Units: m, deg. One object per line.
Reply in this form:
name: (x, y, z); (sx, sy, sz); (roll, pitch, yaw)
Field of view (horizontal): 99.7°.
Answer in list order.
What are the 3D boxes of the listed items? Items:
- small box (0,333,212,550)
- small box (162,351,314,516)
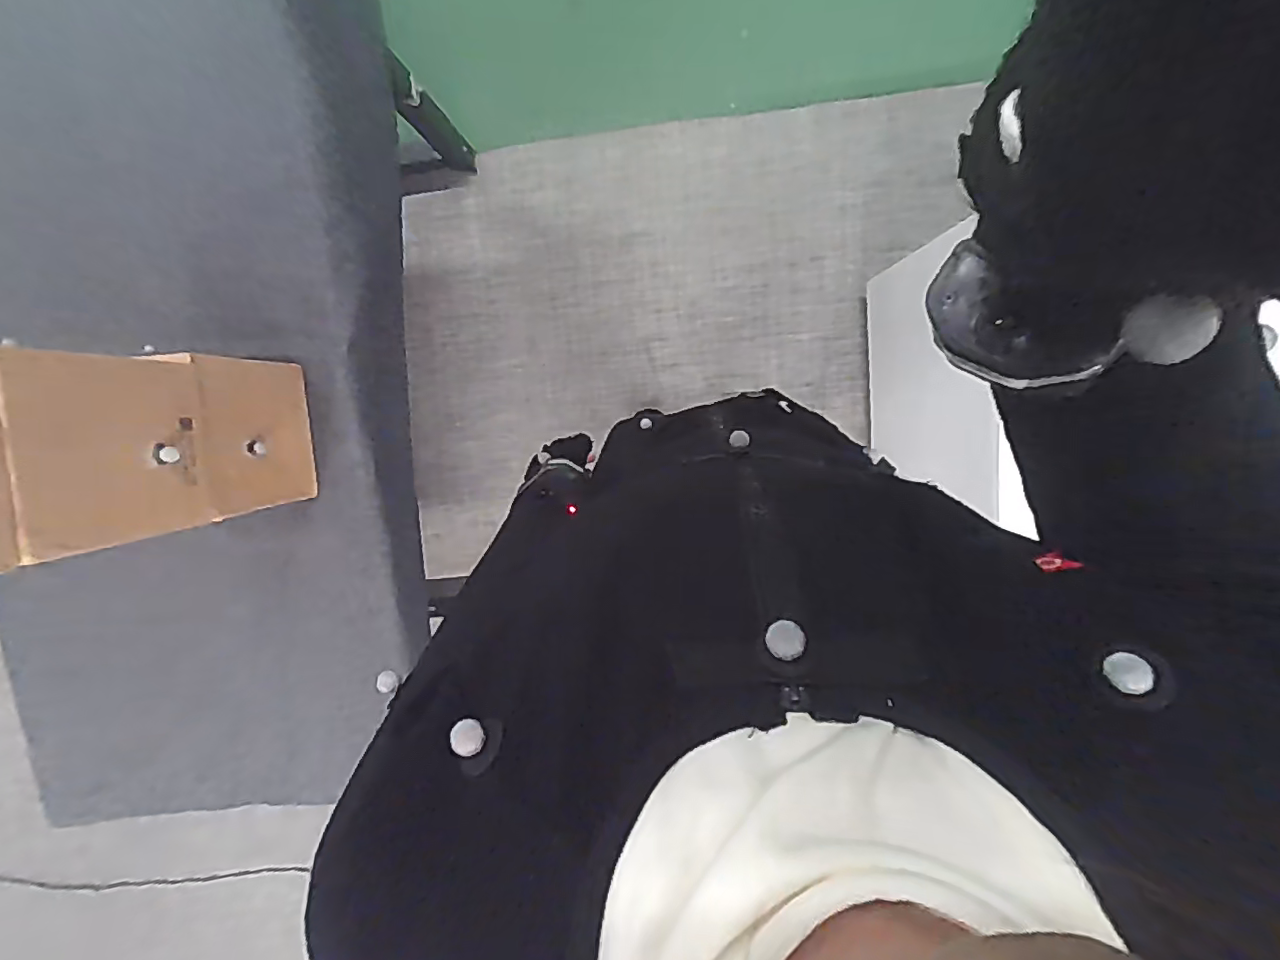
small box: (-0.547, -0.036, 0.491); (0.179, 0.176, 0.168); (-2, 98, 7)
small box: (-0.528, -0.059, 0.653); (0.168, 0.176, 0.179); (-2, 99, 5)
